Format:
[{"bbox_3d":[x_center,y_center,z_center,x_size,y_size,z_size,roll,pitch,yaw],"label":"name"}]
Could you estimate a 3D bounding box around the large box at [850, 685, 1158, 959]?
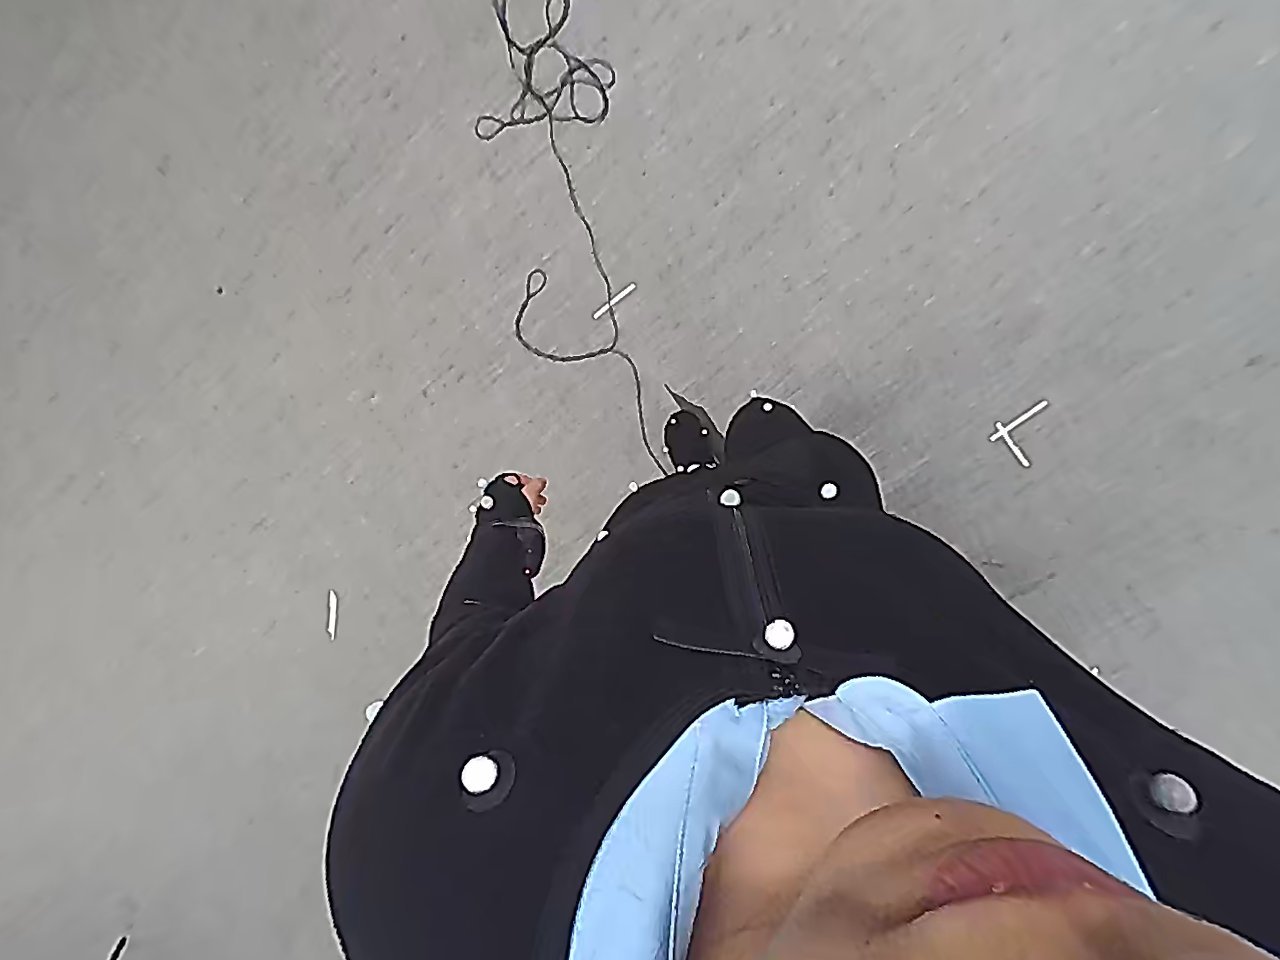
[{"bbox_3d":[0.747,0.729,1.186,0.408,0.320,0.320,-30,94,11],"label":"large box"}]
